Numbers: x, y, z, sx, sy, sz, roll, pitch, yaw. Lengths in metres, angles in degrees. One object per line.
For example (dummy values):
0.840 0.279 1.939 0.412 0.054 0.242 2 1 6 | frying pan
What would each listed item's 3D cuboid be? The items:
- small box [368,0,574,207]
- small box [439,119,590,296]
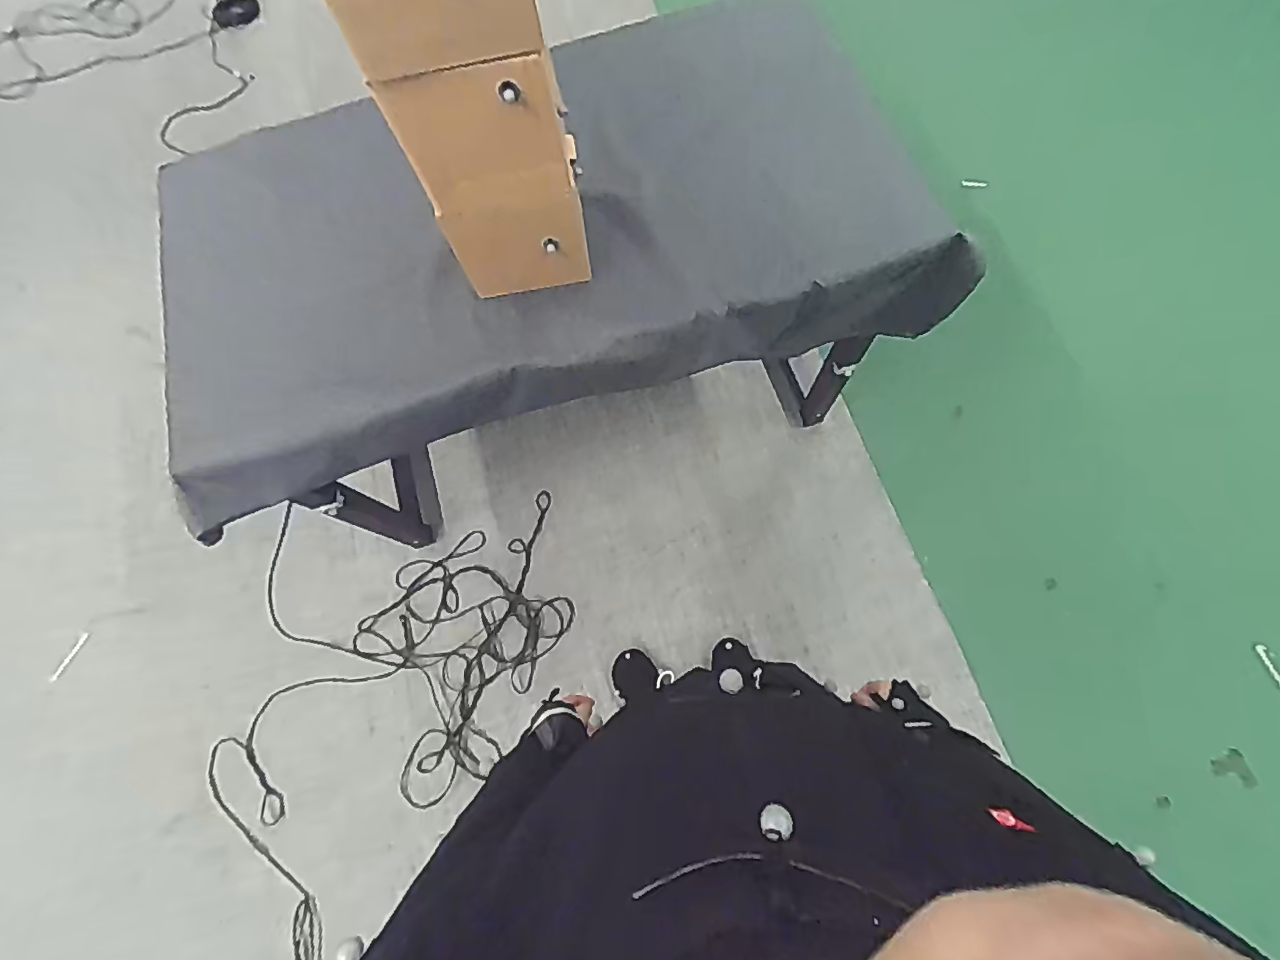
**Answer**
-0.183 -0.445 0.621 0.179 0.176 0.168 -9 71 0 | small box
-0.171 -0.391 0.774 0.179 0.176 0.168 -10 71 2 | small box
